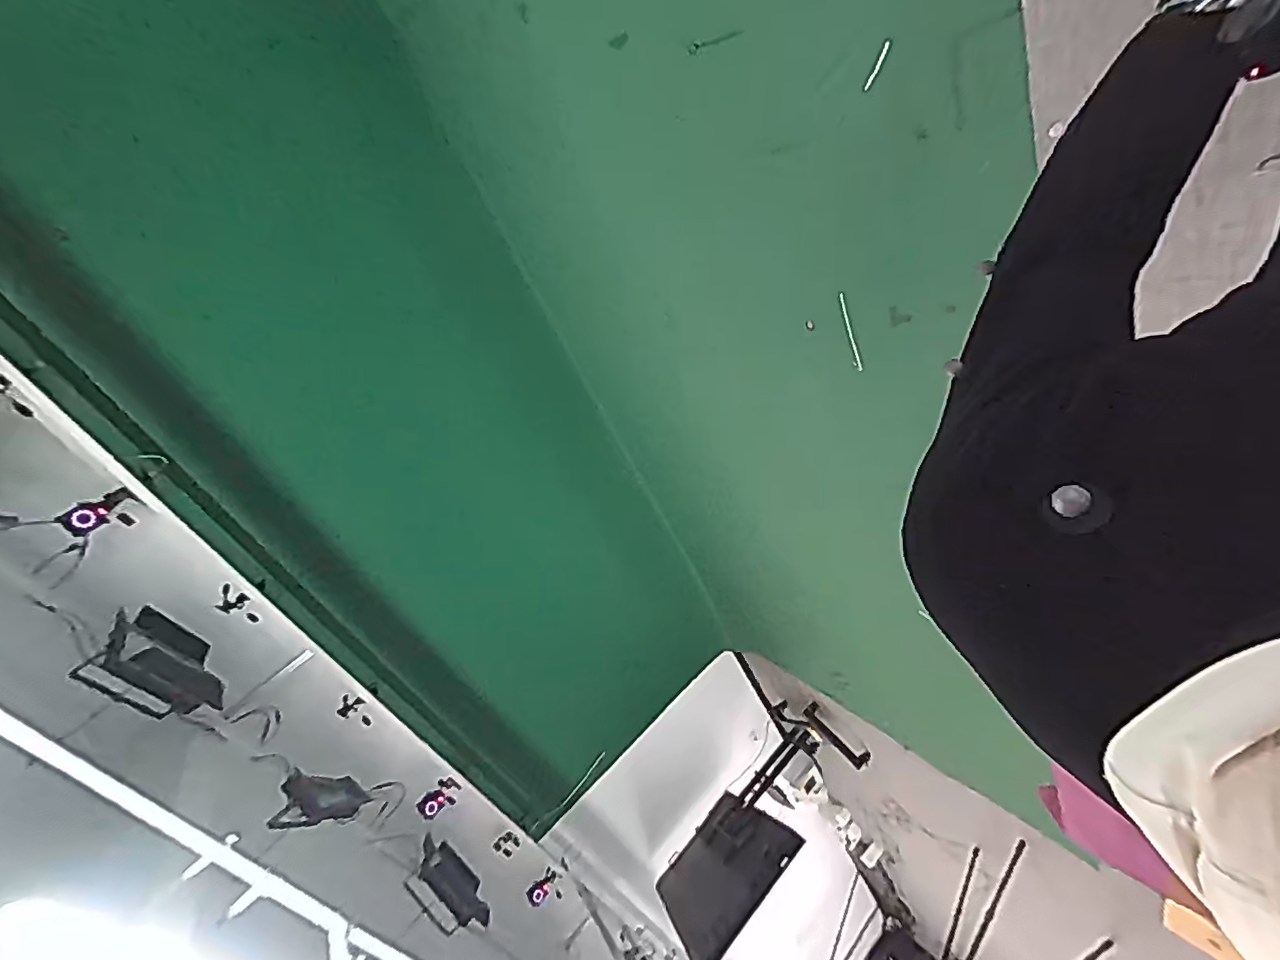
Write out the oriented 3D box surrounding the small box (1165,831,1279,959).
[{"bbox_3d":[1.303,0.933,1.193,0.168,0.176,0.179,20,144,54],"label":"small box"}]
